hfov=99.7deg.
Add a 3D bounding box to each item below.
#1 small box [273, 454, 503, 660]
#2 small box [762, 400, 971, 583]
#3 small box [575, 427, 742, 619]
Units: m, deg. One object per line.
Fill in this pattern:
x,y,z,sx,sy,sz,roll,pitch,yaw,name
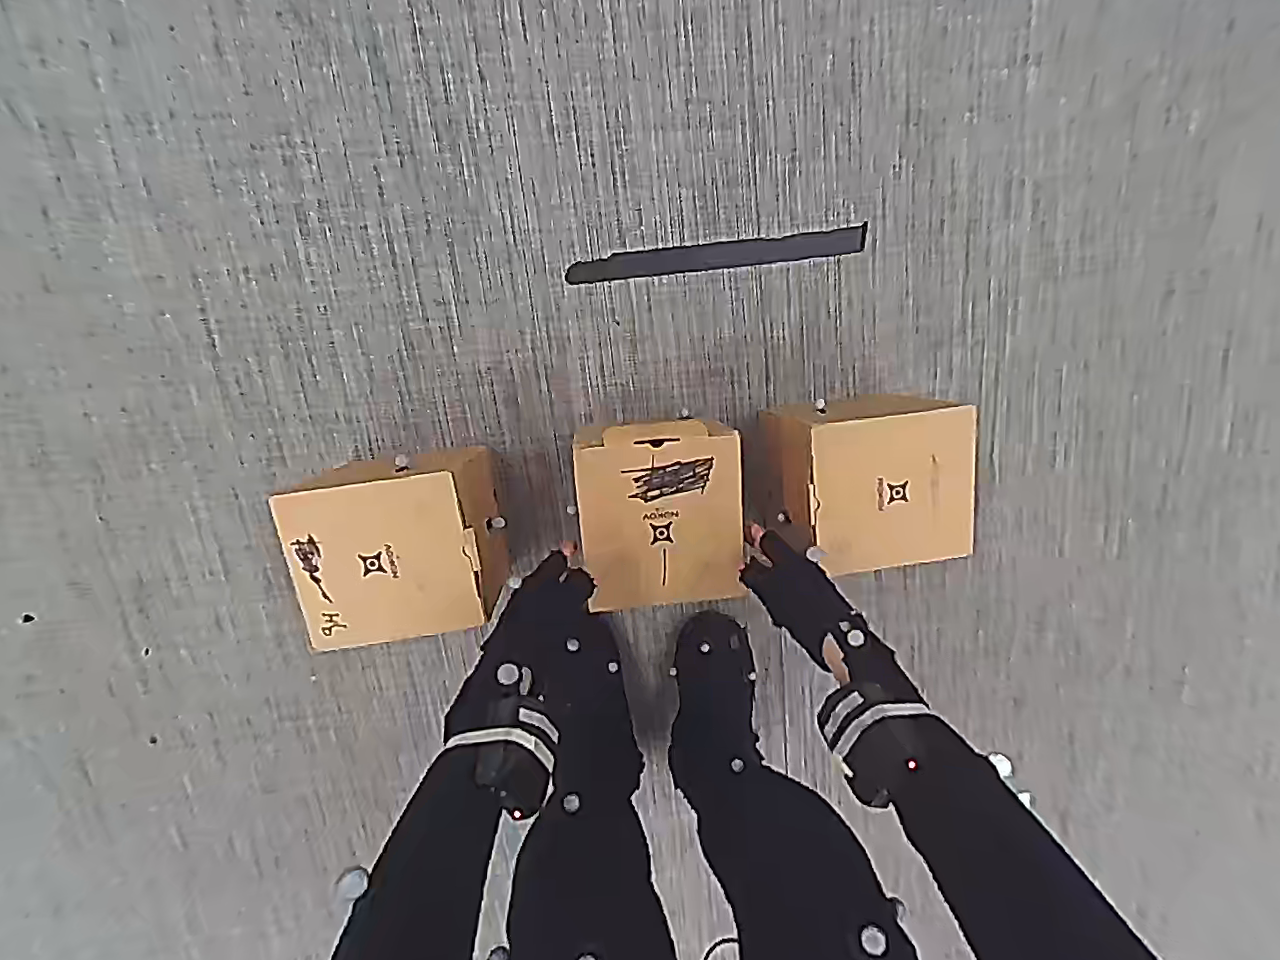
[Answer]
-0.257,0.073,0.606,0.179,0.176,0.168,-9,103,-4,small box
0.250,0.002,0.635,0.179,0.176,0.168,-8,104,-4,small box
0.014,0.035,0.620,0.168,0.176,0.179,-5,103,-4,small box
